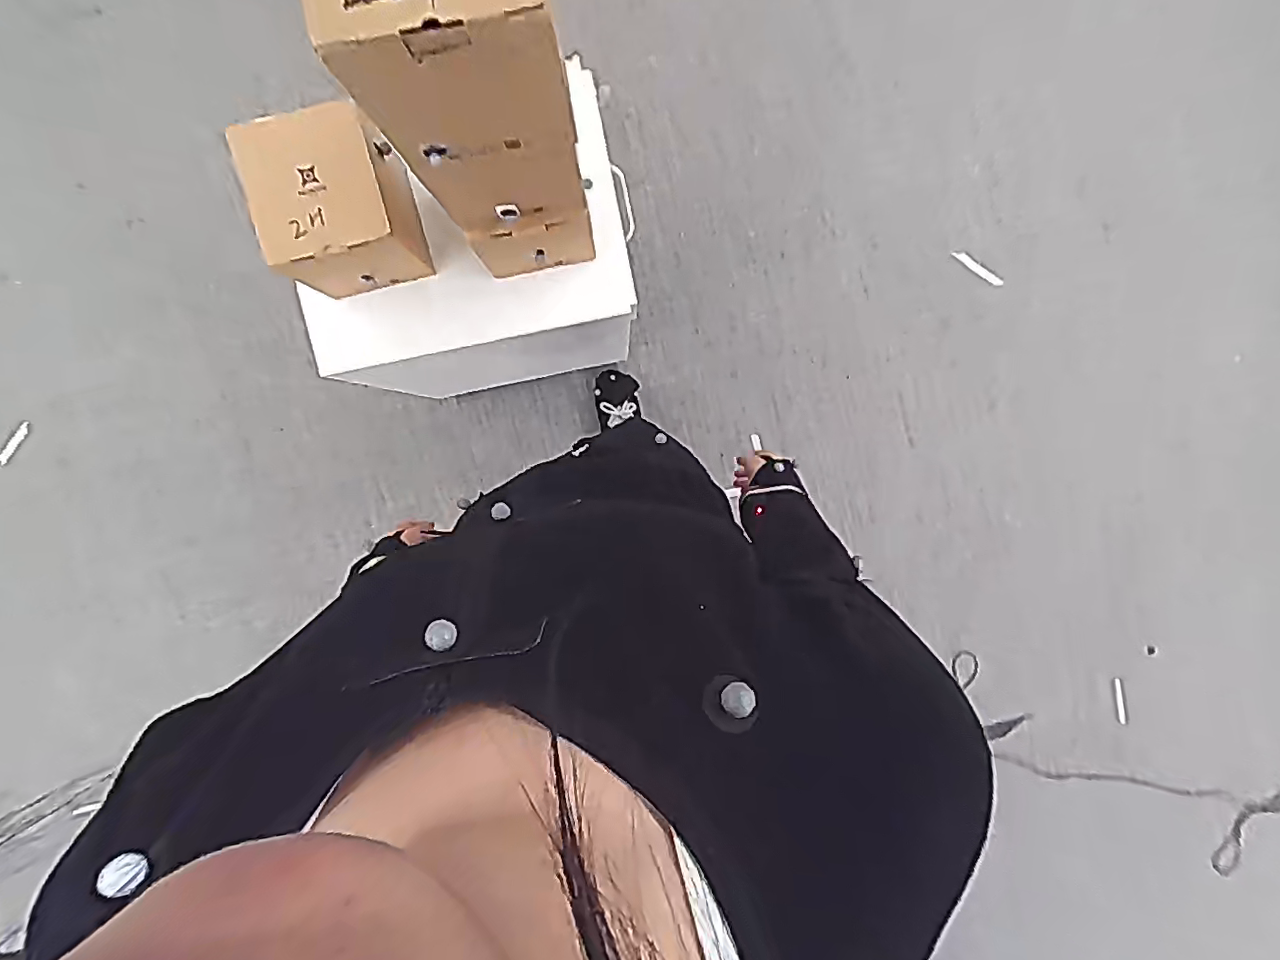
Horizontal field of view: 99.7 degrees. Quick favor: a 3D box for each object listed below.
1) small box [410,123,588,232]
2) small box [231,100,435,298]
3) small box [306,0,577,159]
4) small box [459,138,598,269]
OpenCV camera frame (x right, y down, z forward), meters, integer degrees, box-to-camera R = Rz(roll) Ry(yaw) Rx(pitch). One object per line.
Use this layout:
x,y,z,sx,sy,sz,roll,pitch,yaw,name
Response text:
-0.157,-0.406,0.602,0.168,0.176,0.179,-11,95,1,small box
-0.413,-0.378,0.758,0.168,0.176,0.179,-14,95,-1,small box
-0.151,-0.390,0.438,0.168,0.176,0.179,-9,93,0,small box
-0.158,-0.412,0.766,0.168,0.176,0.179,-9,96,2,small box
